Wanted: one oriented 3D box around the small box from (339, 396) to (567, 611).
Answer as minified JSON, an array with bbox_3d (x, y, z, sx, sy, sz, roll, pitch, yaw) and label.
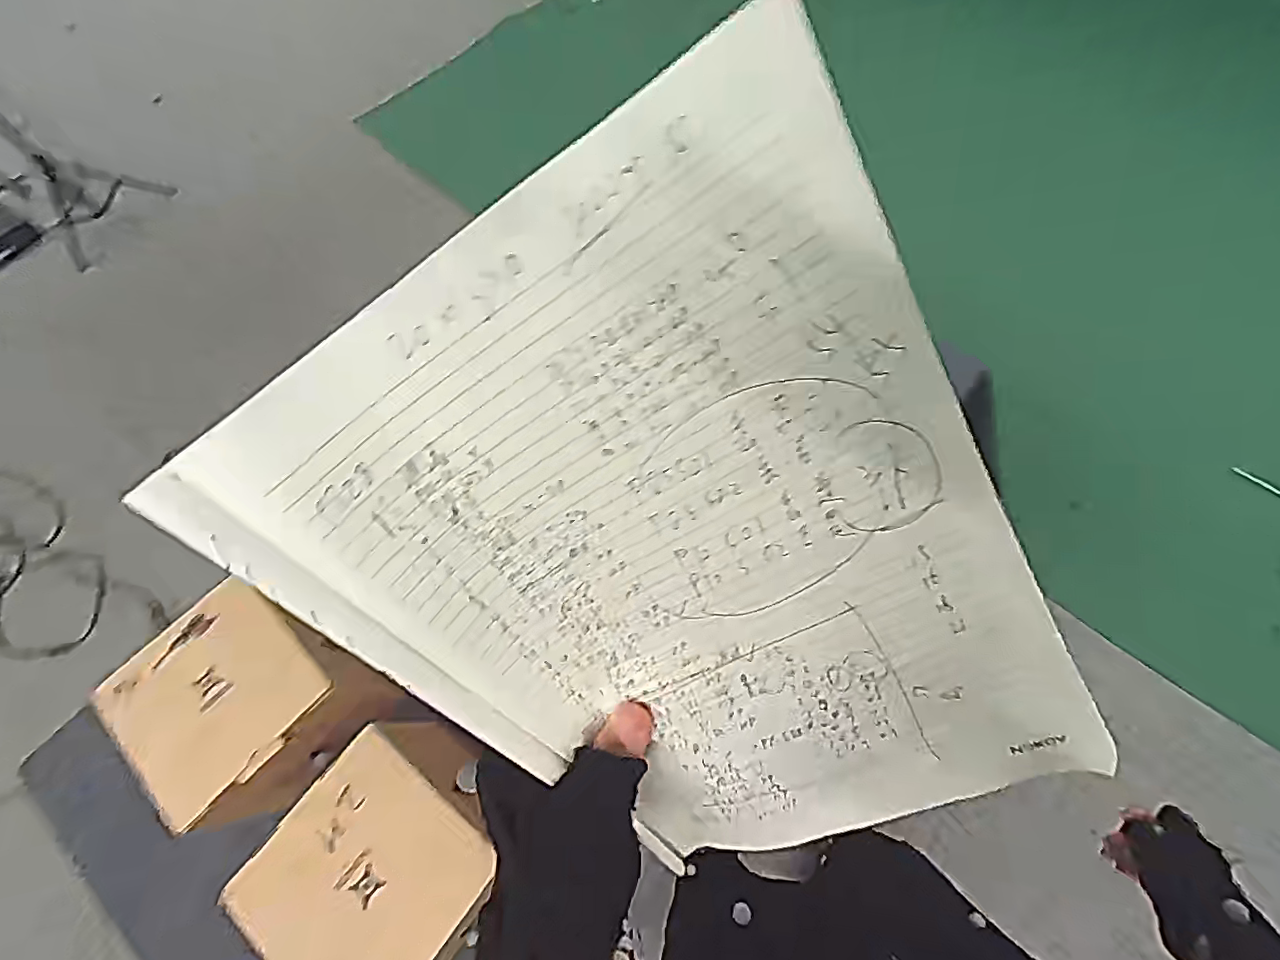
[{"bbox_3d":[-0.214,0.038,0.664,0.179,0.176,0.168,41,75,18],"label":"small box"}]
